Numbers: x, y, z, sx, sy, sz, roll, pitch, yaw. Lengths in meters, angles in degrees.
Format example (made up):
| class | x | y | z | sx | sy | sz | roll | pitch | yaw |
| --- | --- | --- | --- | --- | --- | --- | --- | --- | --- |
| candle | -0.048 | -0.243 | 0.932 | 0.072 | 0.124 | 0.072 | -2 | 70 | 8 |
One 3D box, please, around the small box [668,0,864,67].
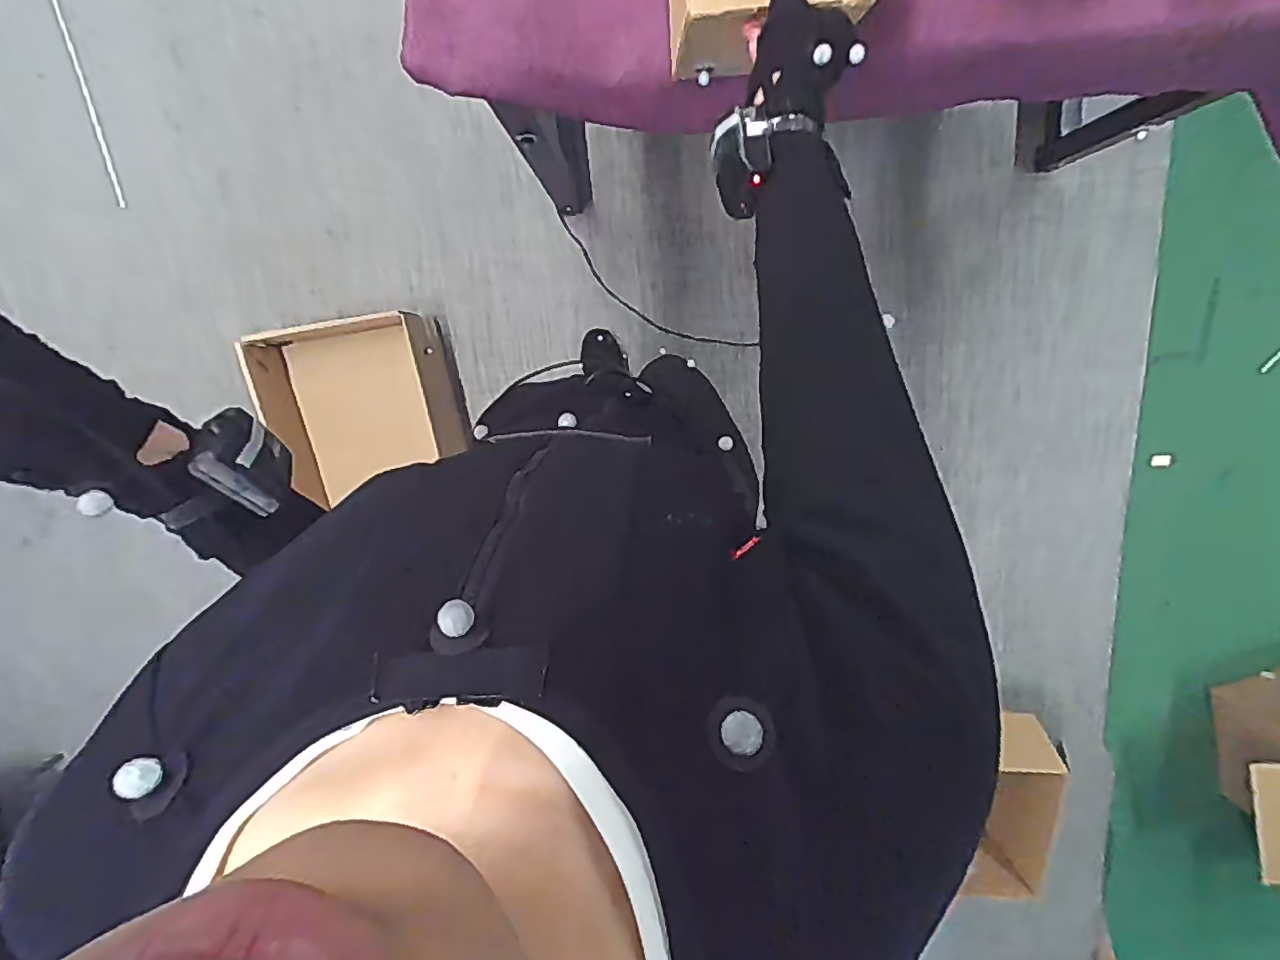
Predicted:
| class | x | y | z | sx | sy | sz | roll | pitch | yaw |
| --- | --- | --- | --- | --- | --- | --- | --- | --- | --- |
| small box | 0.114 | -0.516 | 0.506 | 0.168 | 0.176 | 0.179 | -4 | 110 | 0 |
